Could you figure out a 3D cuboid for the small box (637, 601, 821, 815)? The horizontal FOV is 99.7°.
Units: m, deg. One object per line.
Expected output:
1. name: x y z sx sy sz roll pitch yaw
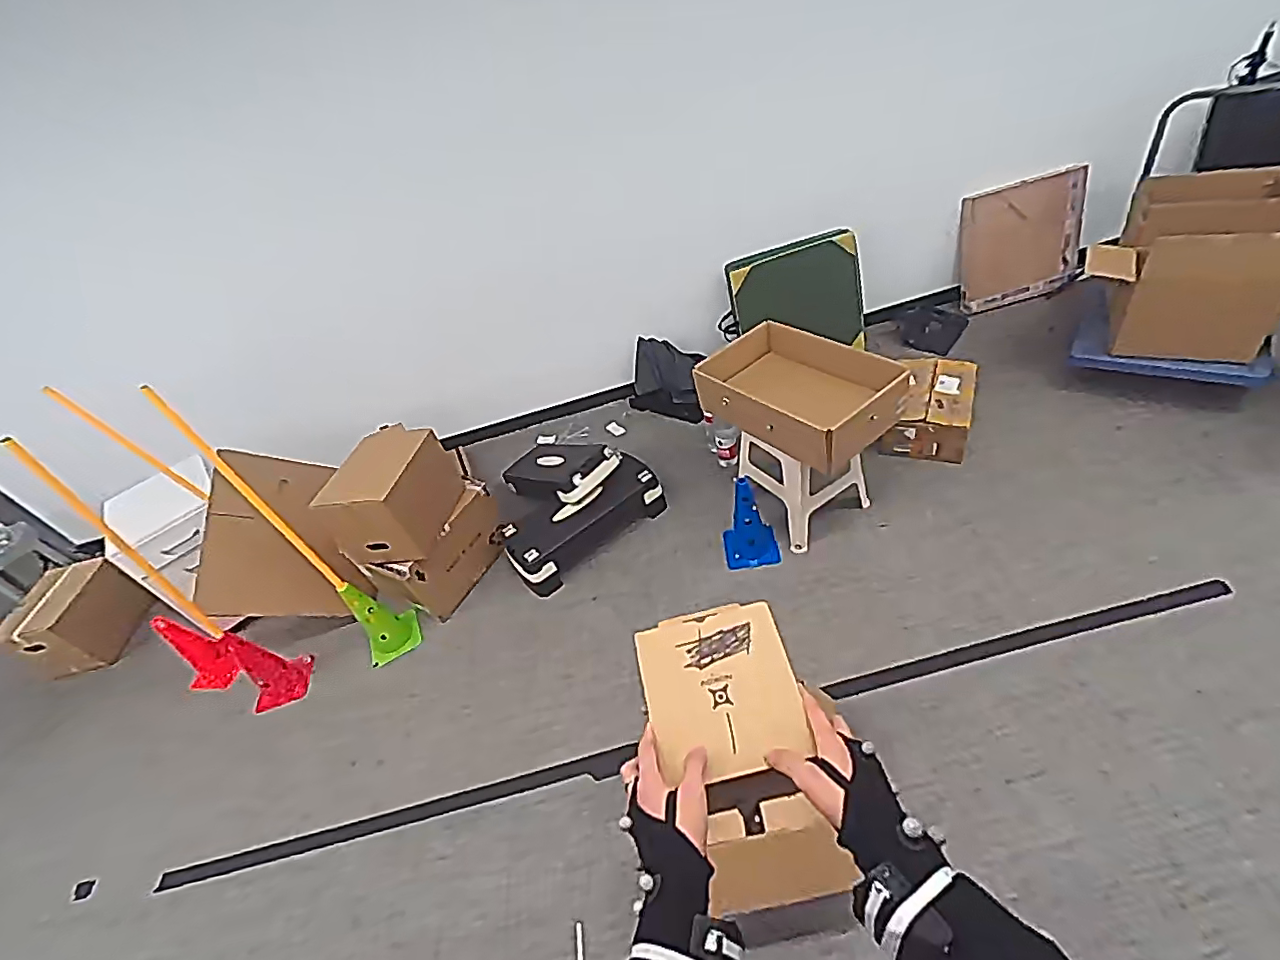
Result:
1. small box: 0.101 0.278 0.655 0.168 0.176 0.179 -15 49 1
